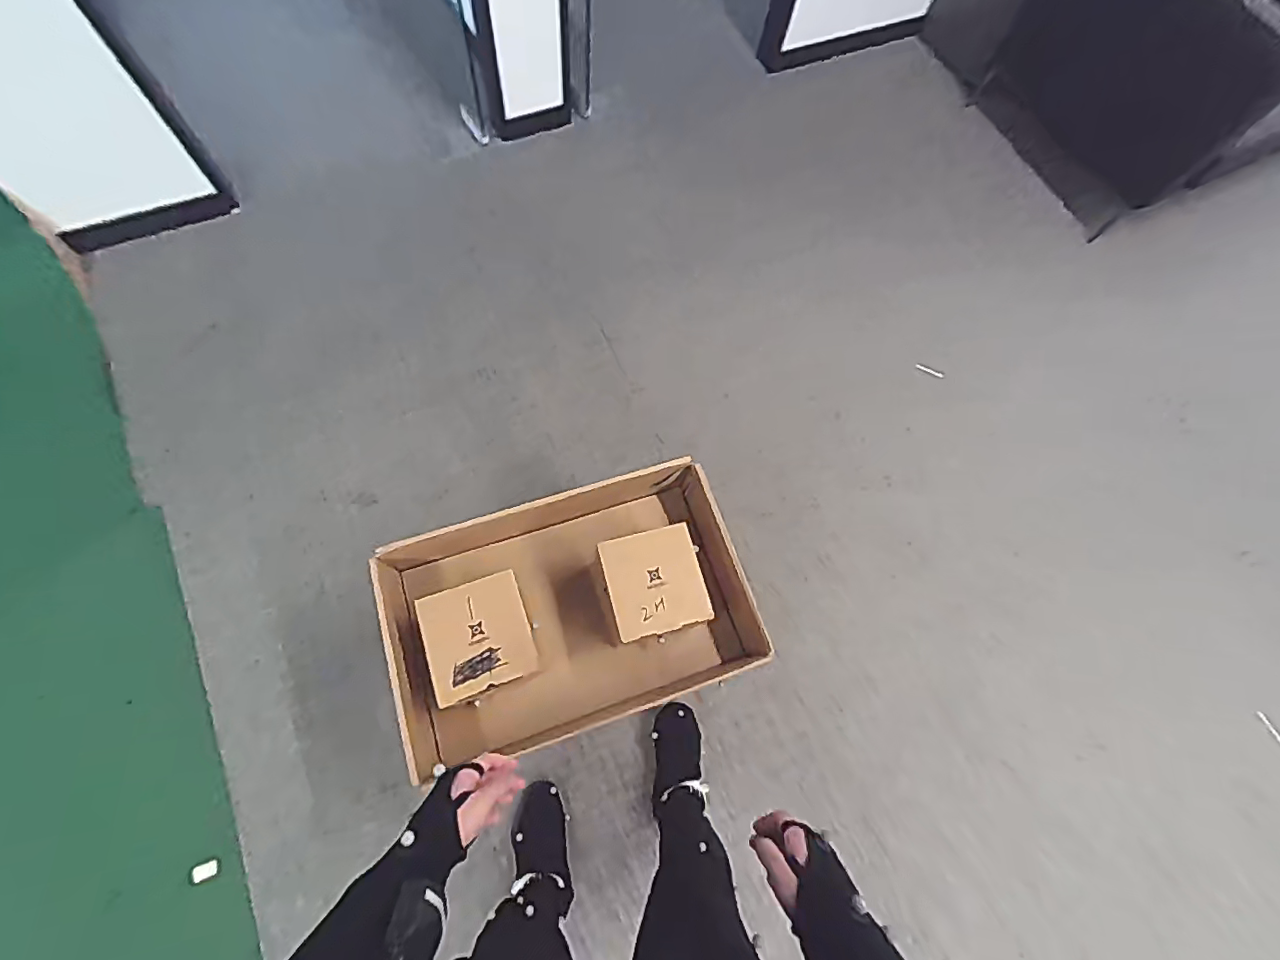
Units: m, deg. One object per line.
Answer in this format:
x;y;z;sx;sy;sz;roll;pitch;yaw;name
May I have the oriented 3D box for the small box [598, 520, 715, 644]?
0.020;0.193;0.991;0.168;0.176;0.179;-12;72;-10;small box
